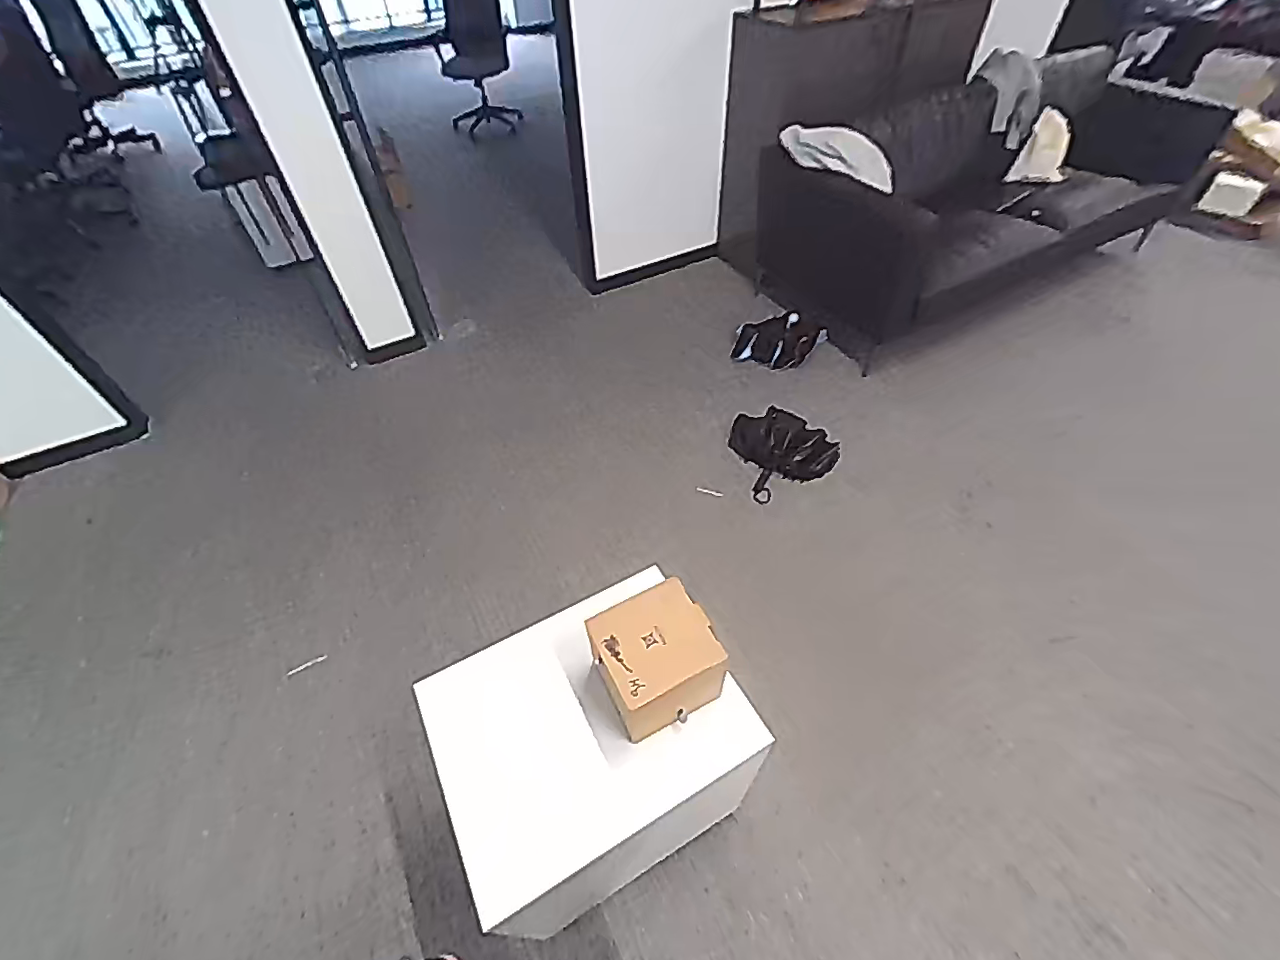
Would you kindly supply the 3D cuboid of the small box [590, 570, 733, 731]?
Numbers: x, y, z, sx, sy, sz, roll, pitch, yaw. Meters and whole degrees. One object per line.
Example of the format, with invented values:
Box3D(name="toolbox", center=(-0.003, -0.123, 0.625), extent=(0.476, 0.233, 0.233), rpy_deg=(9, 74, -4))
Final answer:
Box3D(name="small box", center=(0.030, 0.287, 0.905), extent=(0.179, 0.176, 0.168), rpy_deg=(-22, 53, -17))
